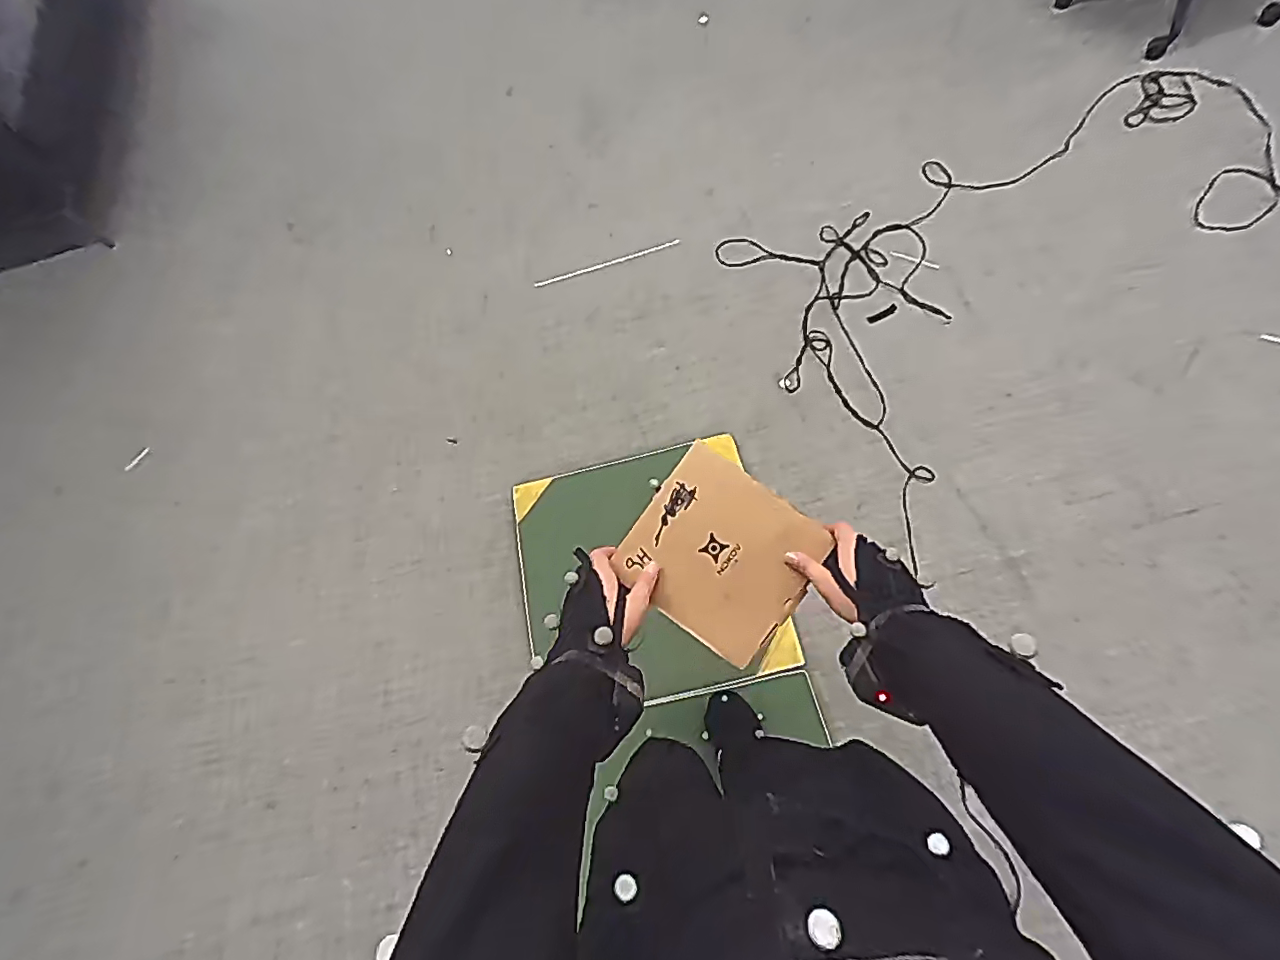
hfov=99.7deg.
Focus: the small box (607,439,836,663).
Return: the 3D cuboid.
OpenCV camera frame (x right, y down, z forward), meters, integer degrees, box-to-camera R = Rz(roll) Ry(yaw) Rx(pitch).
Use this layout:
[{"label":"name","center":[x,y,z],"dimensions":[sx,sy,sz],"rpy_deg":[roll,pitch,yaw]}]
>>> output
[{"label":"small box","center":[0.086,0.073,0.626],"dimensions":[0.179,0.176,0.168],"rpy_deg":[36,90,4]}]
